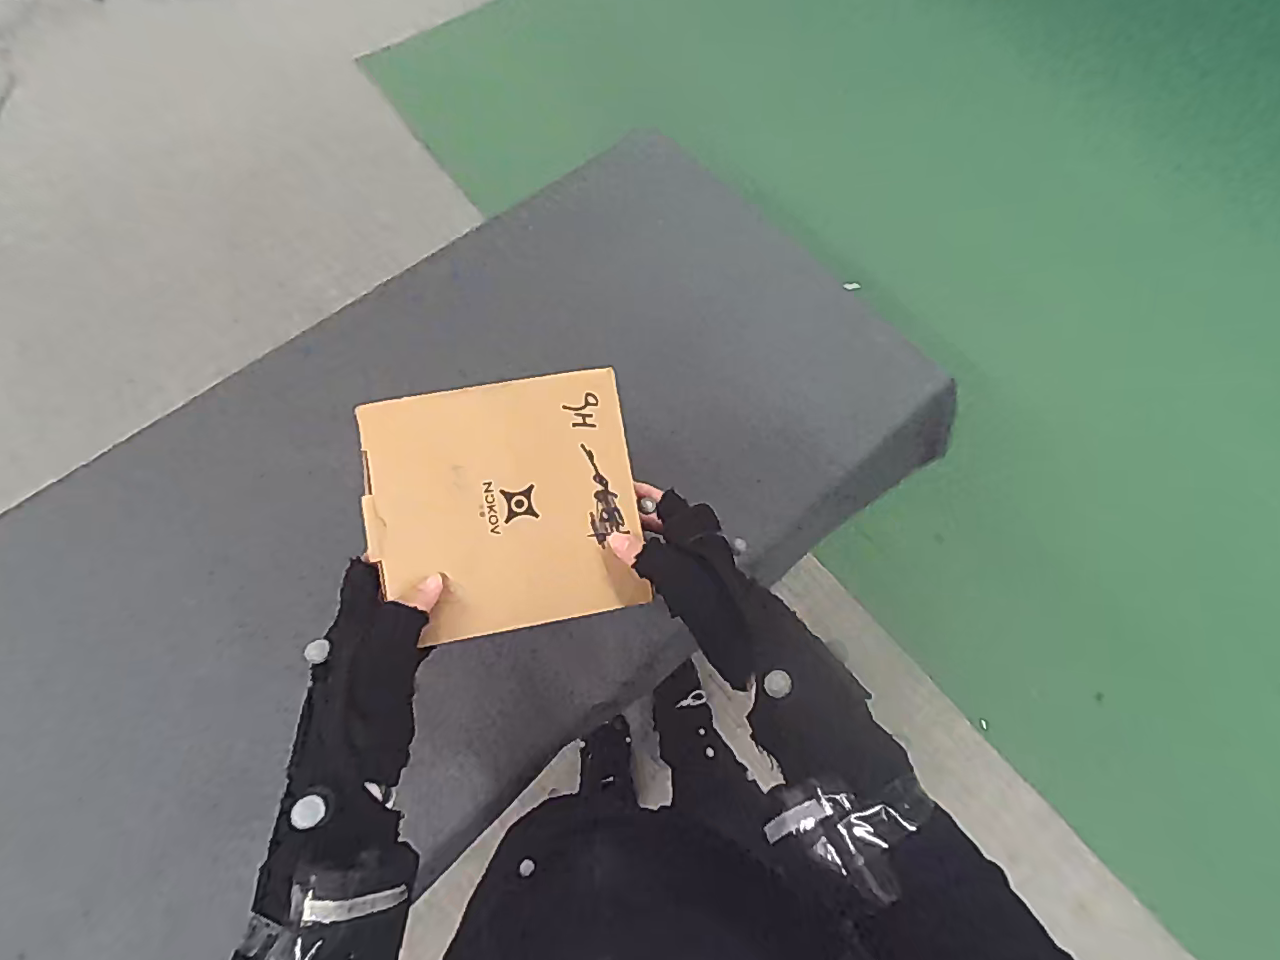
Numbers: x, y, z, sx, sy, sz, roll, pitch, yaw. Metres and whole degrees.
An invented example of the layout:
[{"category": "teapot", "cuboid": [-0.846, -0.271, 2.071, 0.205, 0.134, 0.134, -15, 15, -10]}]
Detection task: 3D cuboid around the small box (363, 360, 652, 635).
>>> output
[{"category": "small box", "cuboid": [-0.096, 0.019, 0.450, 0.179, 0.176, 0.168, -12, 84, -6]}]
